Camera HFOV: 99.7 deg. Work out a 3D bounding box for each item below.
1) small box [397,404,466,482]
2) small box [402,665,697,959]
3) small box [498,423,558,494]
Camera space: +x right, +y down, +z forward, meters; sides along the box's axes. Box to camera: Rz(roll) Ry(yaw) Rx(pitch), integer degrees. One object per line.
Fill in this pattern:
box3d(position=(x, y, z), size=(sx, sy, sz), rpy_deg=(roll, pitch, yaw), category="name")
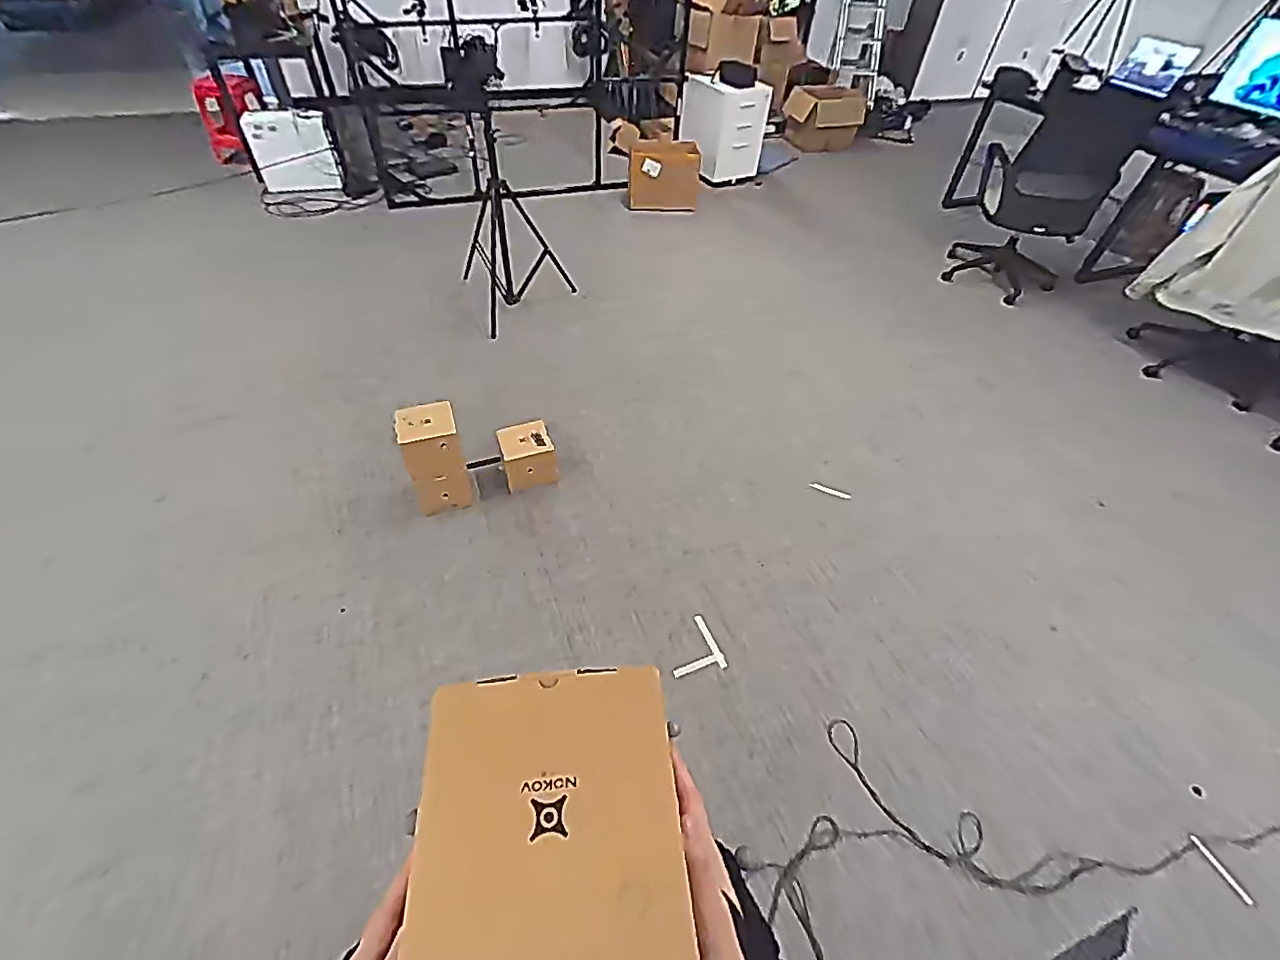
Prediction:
box3d(position=(-0.667, -0.118, 1.747), size=(0.179, 0.176, 0.168), rpy_deg=(-14, 49, -15), category="small box")
box3d(position=(-0.059, 0.261, 0.404), size=(0.168, 0.176, 0.179), rpy_deg=(-4, 49, -7), category="small box")
box3d(position=(-0.400, -0.076, 1.949), size=(0.179, 0.176, 0.168), rpy_deg=(-15, 50, -15), category="small box")
